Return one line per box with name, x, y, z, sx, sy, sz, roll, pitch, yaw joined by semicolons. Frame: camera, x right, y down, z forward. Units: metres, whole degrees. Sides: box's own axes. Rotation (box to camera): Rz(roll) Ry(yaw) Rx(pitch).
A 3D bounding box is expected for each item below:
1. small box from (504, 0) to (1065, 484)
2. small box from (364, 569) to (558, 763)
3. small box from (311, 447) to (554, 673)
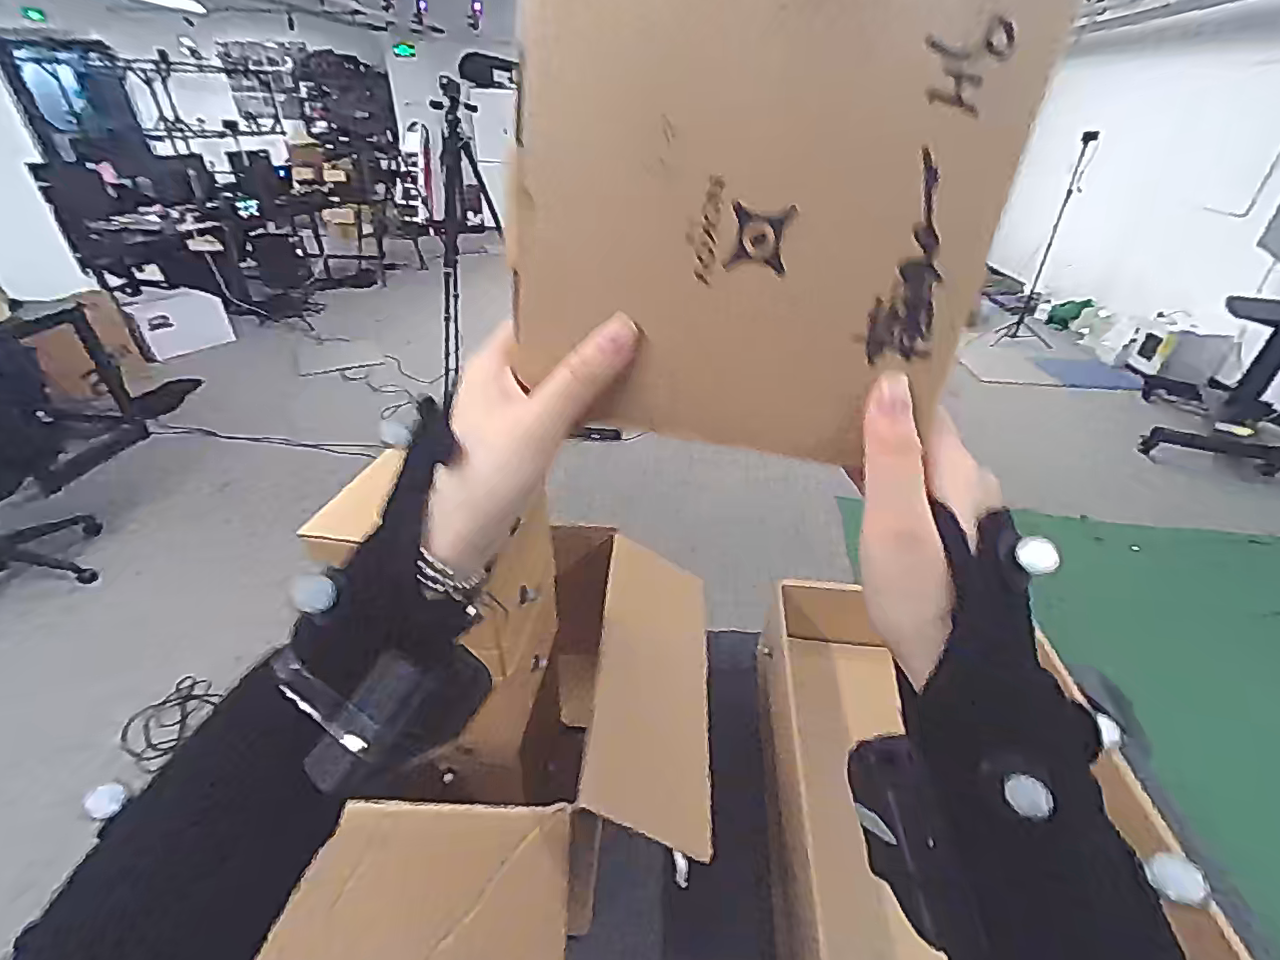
small box;0.049;-0.118;0.277;0.179;0.168;0.176;12;25;8
small box;-0.204;0.216;0.674;0.168;0.176;0.179;6;36;6
small box;-0.201;0.083;0.581;0.179;0.176;0.168;7;34;6
